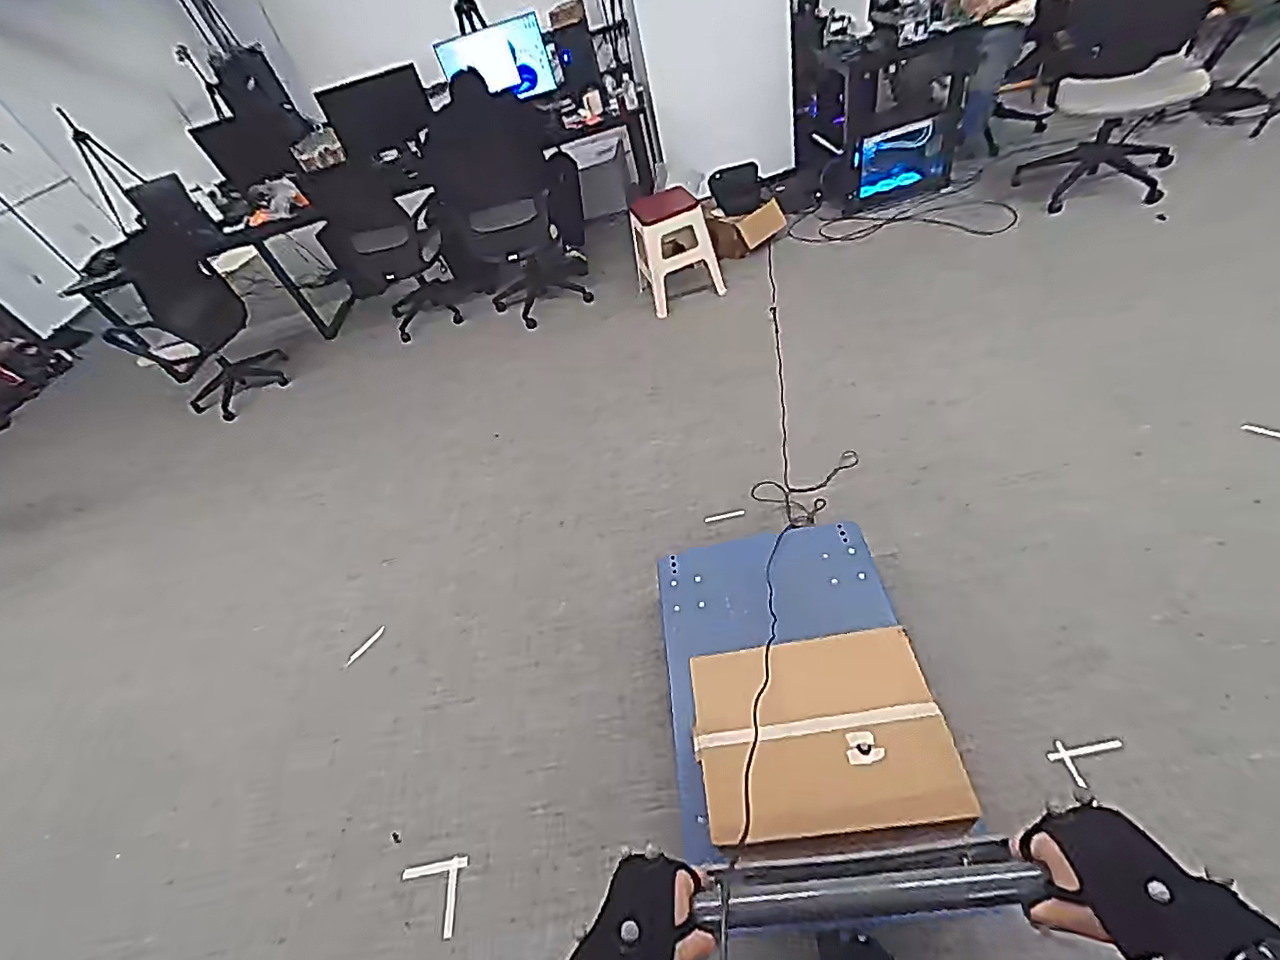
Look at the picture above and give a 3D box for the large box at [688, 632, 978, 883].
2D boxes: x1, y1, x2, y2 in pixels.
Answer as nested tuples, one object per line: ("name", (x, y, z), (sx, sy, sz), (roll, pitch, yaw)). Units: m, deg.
("large box", (0.326, 0.528, 1.018), (0.408, 0.320, 0.320), (-11, 46, 7))
